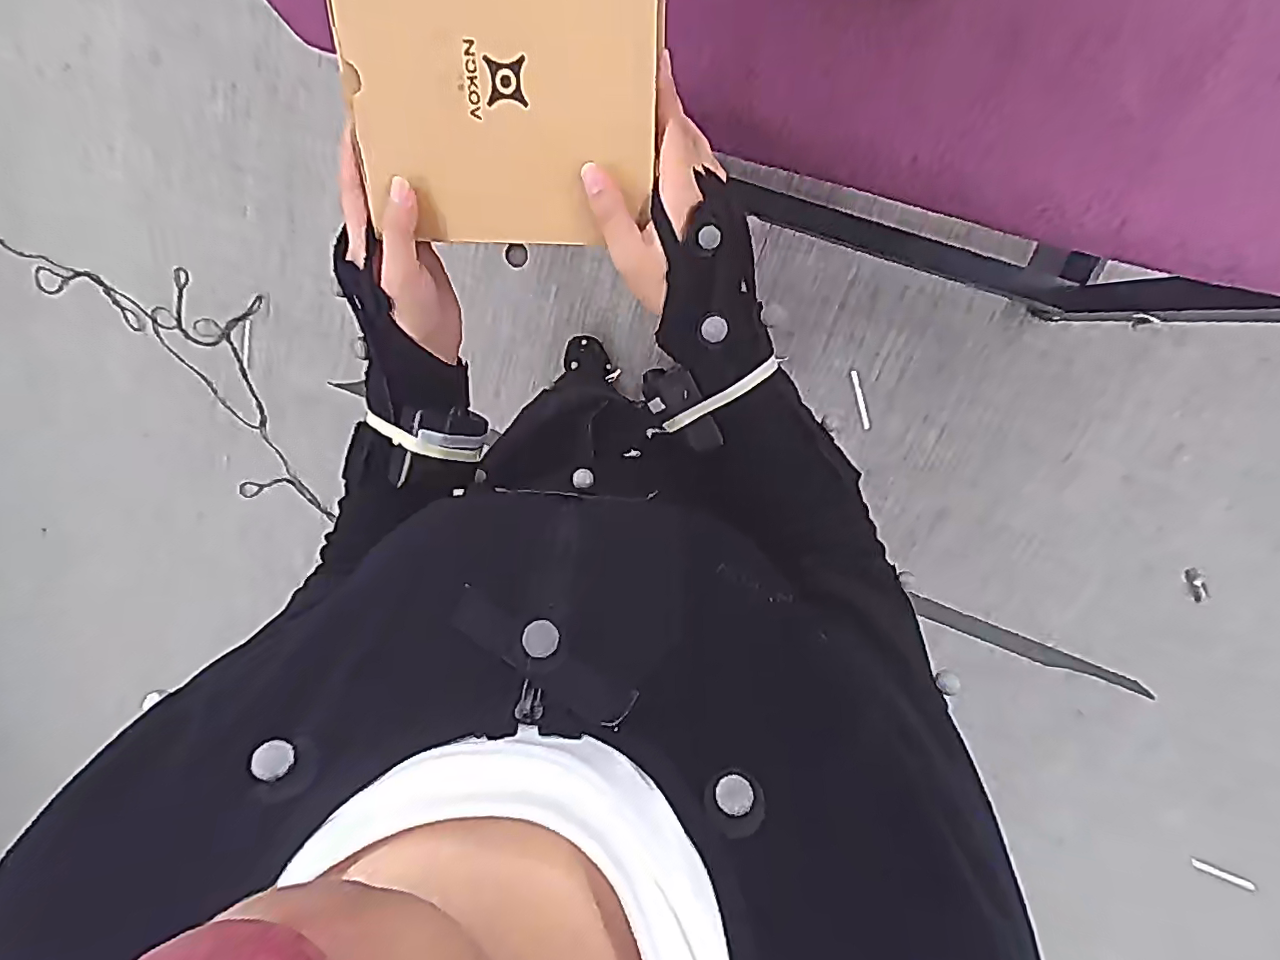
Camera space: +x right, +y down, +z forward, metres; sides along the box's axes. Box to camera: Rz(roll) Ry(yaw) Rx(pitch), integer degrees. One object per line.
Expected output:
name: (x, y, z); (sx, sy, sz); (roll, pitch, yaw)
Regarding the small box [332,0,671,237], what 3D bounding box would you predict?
small box: (-0.070, -0.259, 0.358); (0.179, 0.176, 0.168); (2, 117, 2)
